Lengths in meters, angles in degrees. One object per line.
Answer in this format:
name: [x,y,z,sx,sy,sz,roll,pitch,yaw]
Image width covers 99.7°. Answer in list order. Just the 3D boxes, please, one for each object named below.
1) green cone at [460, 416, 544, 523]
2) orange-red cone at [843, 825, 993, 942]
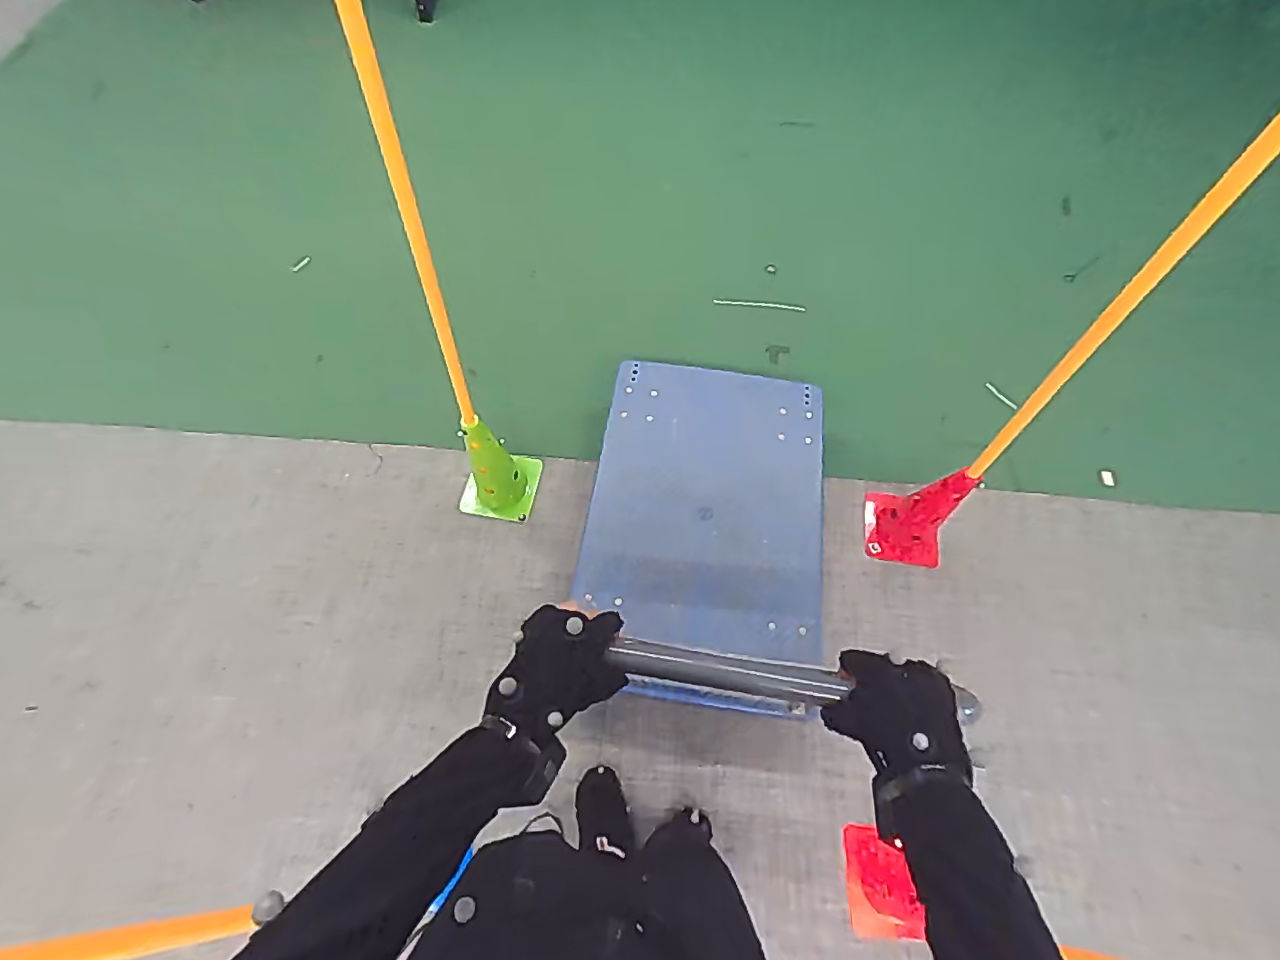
green cone: [-0.390,-0.055,1.405,0.202,0.368,0.200,8,64,4]
orange-red cone: [0.542,0.794,1.017,0.199,0.360,0.198,4,64,3]
